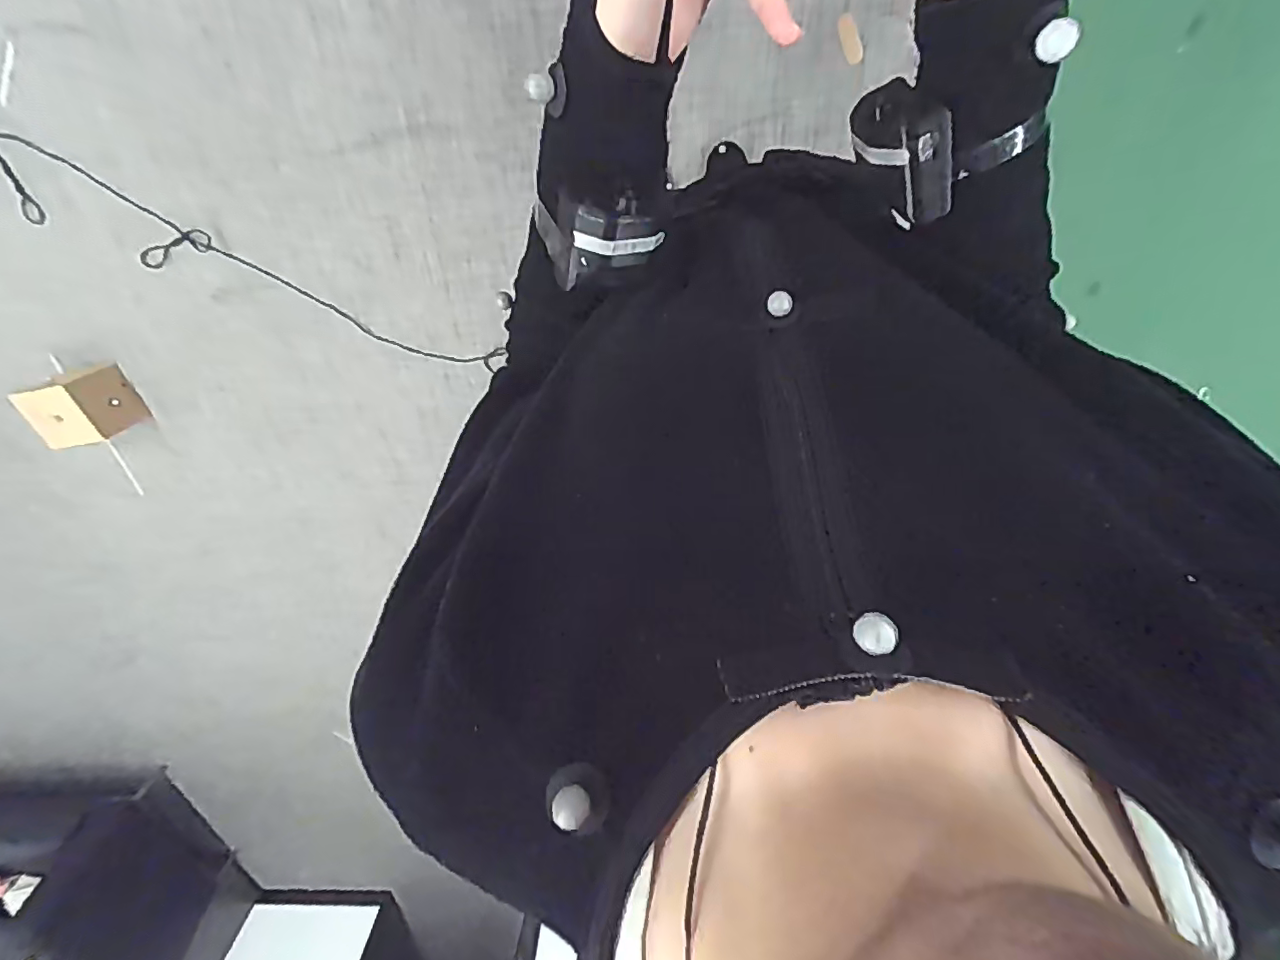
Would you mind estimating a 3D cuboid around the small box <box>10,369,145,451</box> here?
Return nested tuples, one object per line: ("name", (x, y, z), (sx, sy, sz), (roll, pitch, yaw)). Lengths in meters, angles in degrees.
("small box", (-1.557, -0.202, 1.519), (0.179, 0.176, 0.168), (-7, 120, 8))
